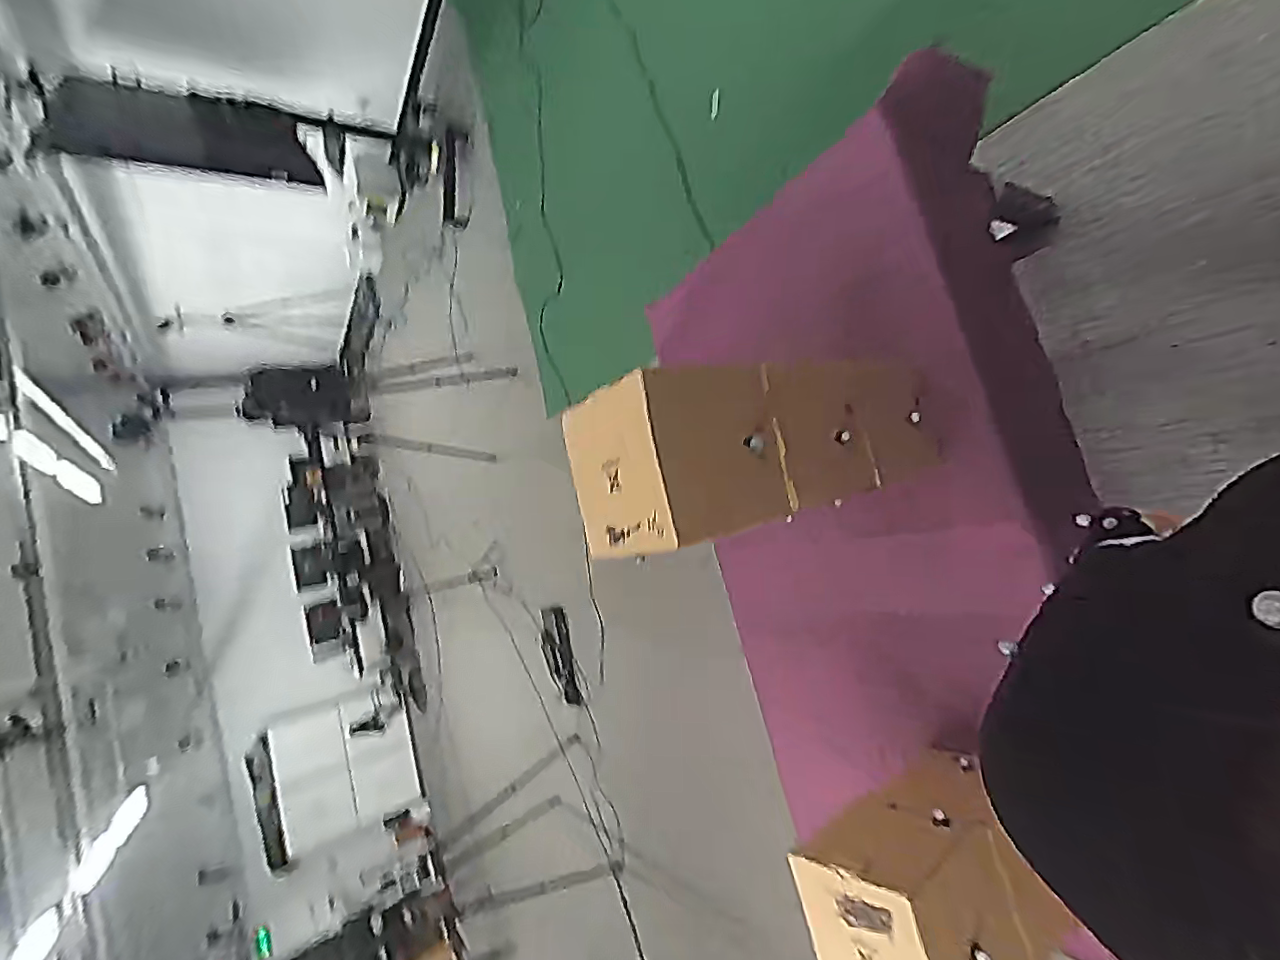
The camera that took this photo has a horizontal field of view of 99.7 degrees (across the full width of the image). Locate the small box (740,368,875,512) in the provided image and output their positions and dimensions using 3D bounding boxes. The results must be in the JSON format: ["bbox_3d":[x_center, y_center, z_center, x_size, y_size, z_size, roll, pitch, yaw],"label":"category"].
[{"bbox_3d":[0.172,-0.040,0.714,0.179,0.176,0.168,-20,82,53],"label":"small box"}]

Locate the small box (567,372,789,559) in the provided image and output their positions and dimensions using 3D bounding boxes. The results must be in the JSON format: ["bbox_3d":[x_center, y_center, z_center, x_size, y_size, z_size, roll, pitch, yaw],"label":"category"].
[{"bbox_3d":[0.042,-0.014,0.616,0.168,0.176,0.179,-17,84,54],"label":"small box"}]

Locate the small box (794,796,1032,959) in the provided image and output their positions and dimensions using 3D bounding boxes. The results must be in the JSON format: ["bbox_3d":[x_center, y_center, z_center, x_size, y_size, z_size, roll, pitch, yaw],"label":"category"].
[{"bbox_3d":[0.322,0.513,0.645,0.168,0.176,0.179,-29,75,53],"label":"small box"}]
